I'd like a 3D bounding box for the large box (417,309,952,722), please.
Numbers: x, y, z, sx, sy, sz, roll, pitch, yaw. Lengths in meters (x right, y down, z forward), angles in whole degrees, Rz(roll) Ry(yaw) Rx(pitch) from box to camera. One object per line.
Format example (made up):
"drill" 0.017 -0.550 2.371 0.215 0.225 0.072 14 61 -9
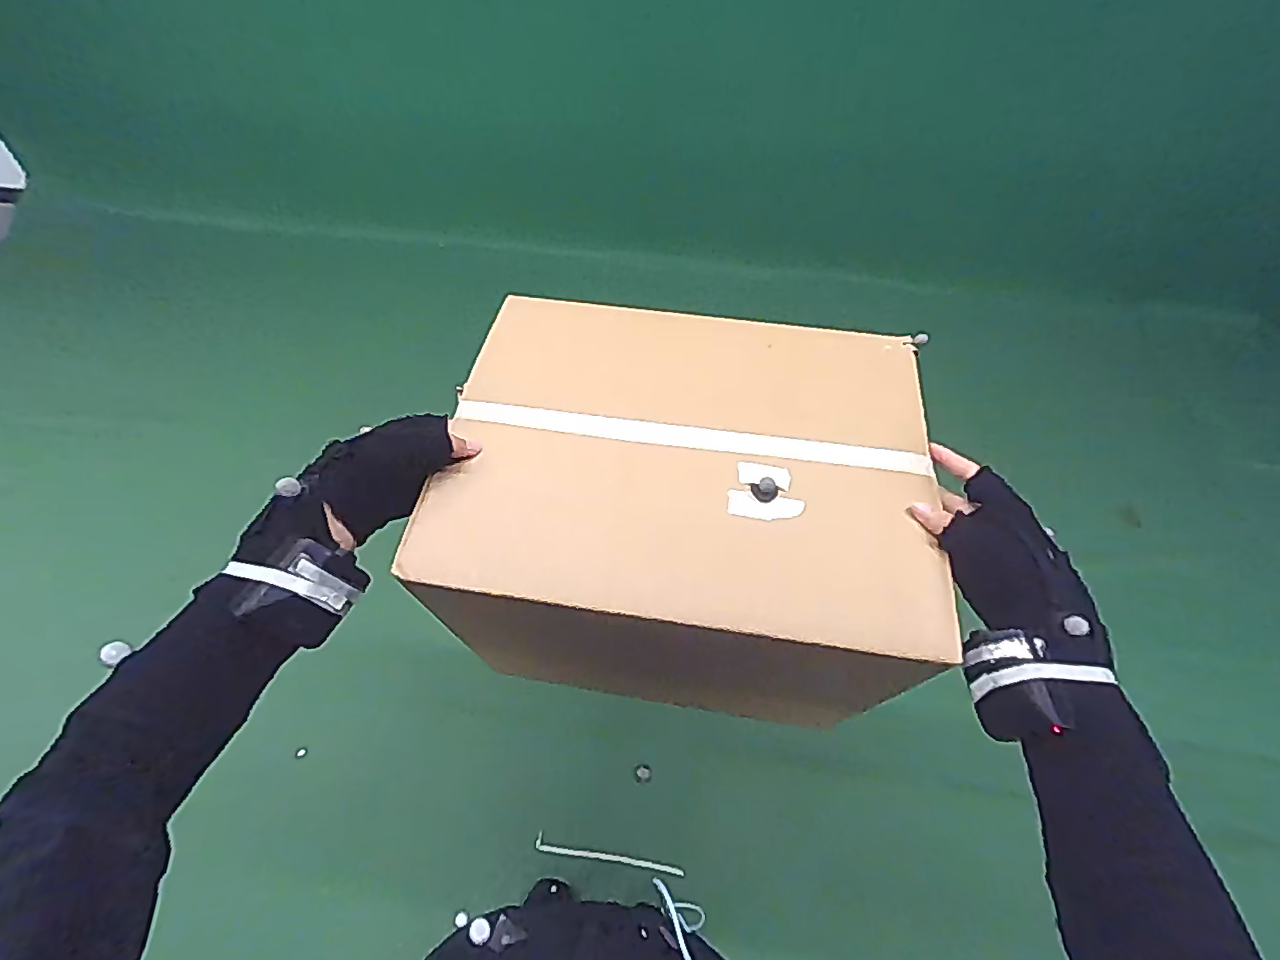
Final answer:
"large box" 0.043 0.051 0.598 0.408 0.320 0.320 8 58 4
